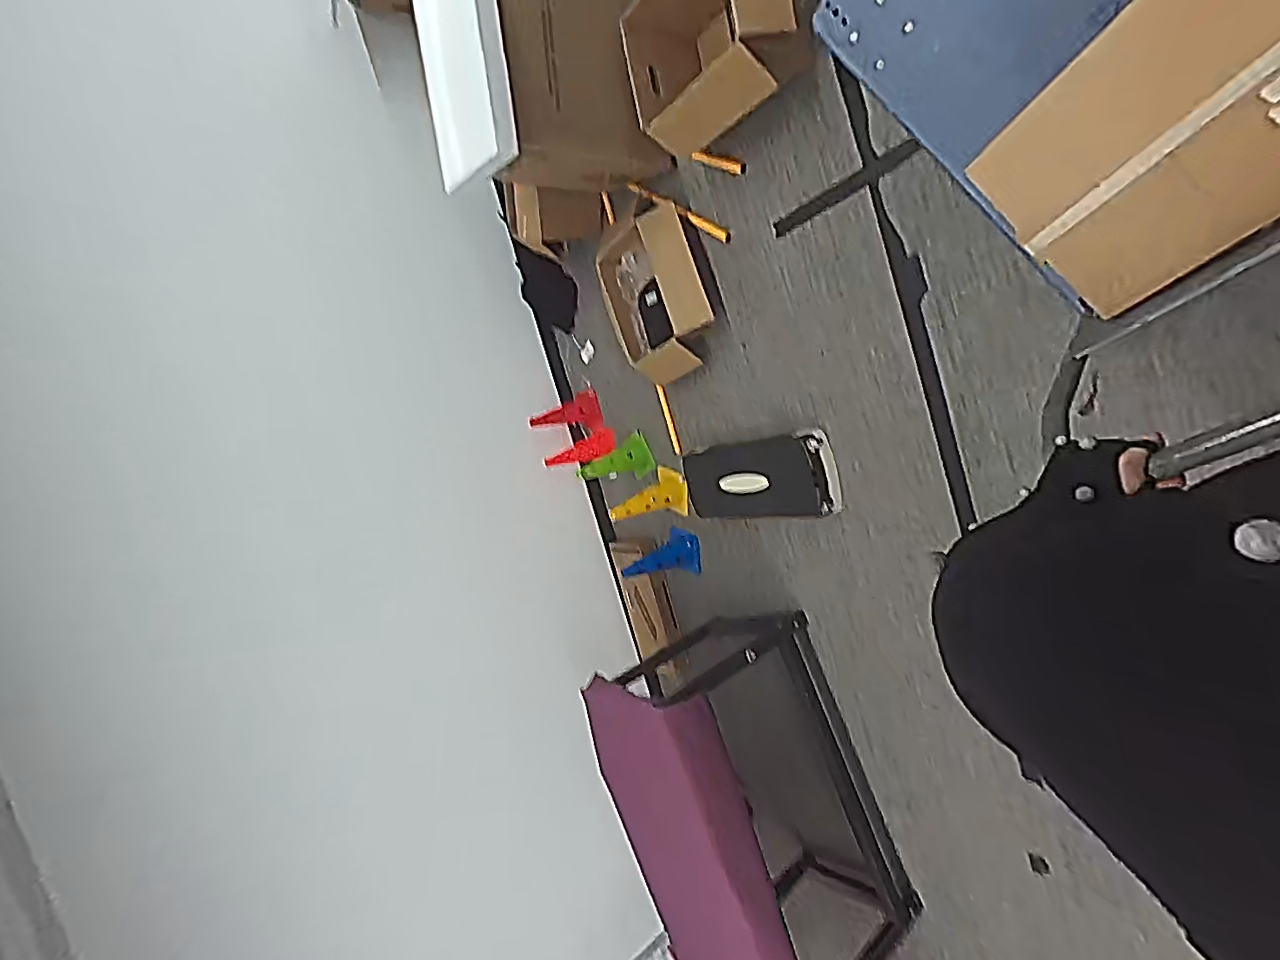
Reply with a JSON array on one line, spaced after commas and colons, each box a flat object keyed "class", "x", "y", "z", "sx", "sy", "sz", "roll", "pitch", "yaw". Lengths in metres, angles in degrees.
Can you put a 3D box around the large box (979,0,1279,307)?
[{"class": "large box", "x": 0.782, "y": -0.521, "z": 0.736, "sx": 0.320, "sy": 0.320, "sz": 0.408, "roll": 50, "pitch": 144, "yaw": 6}]
